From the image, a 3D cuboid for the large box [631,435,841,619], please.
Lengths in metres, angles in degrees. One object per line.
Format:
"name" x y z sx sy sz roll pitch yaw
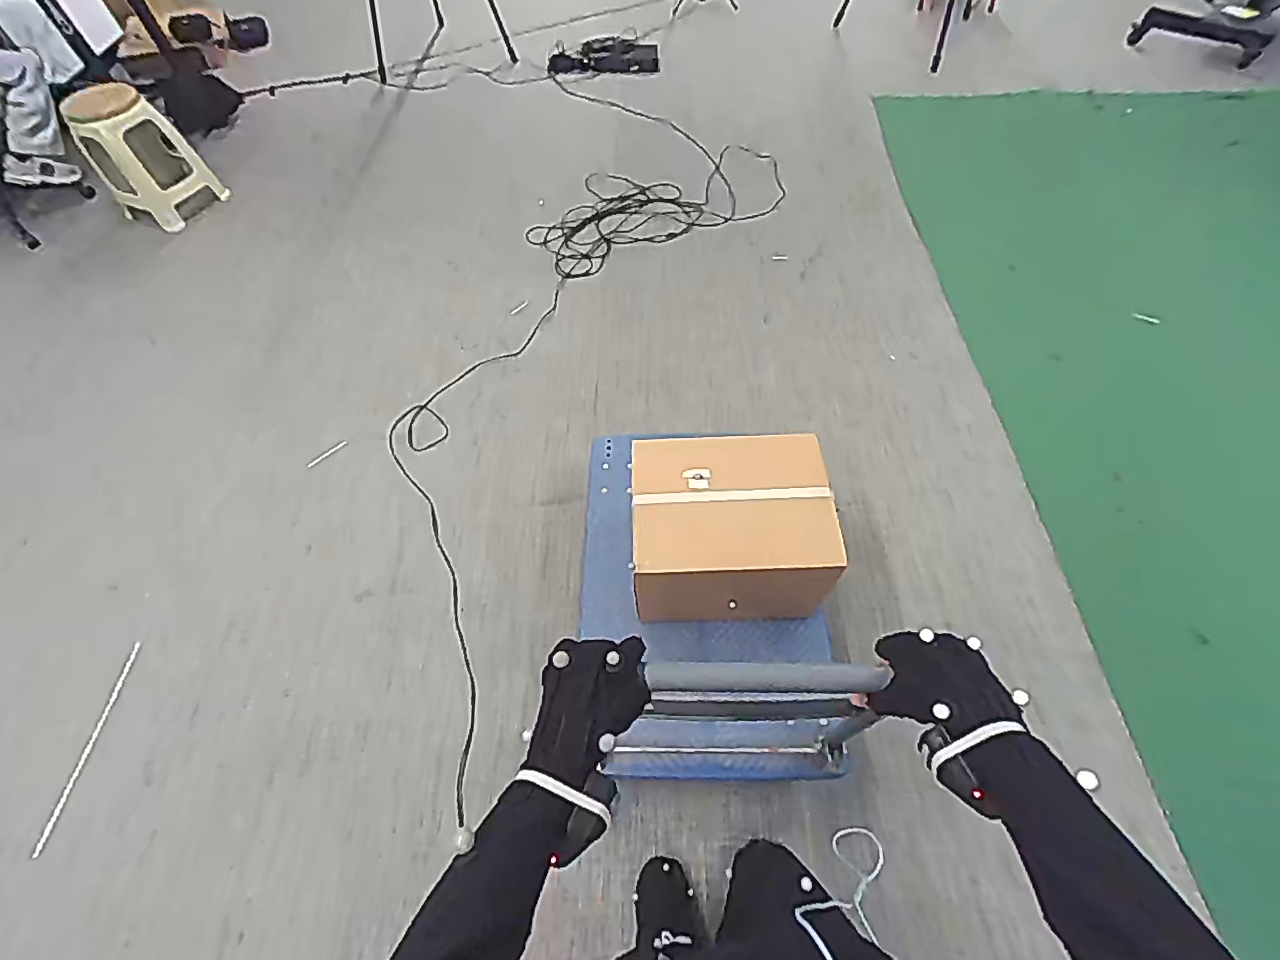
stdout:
"large box" 0.194 0.120 1.238 0.408 0.320 0.320 -3 57 3
